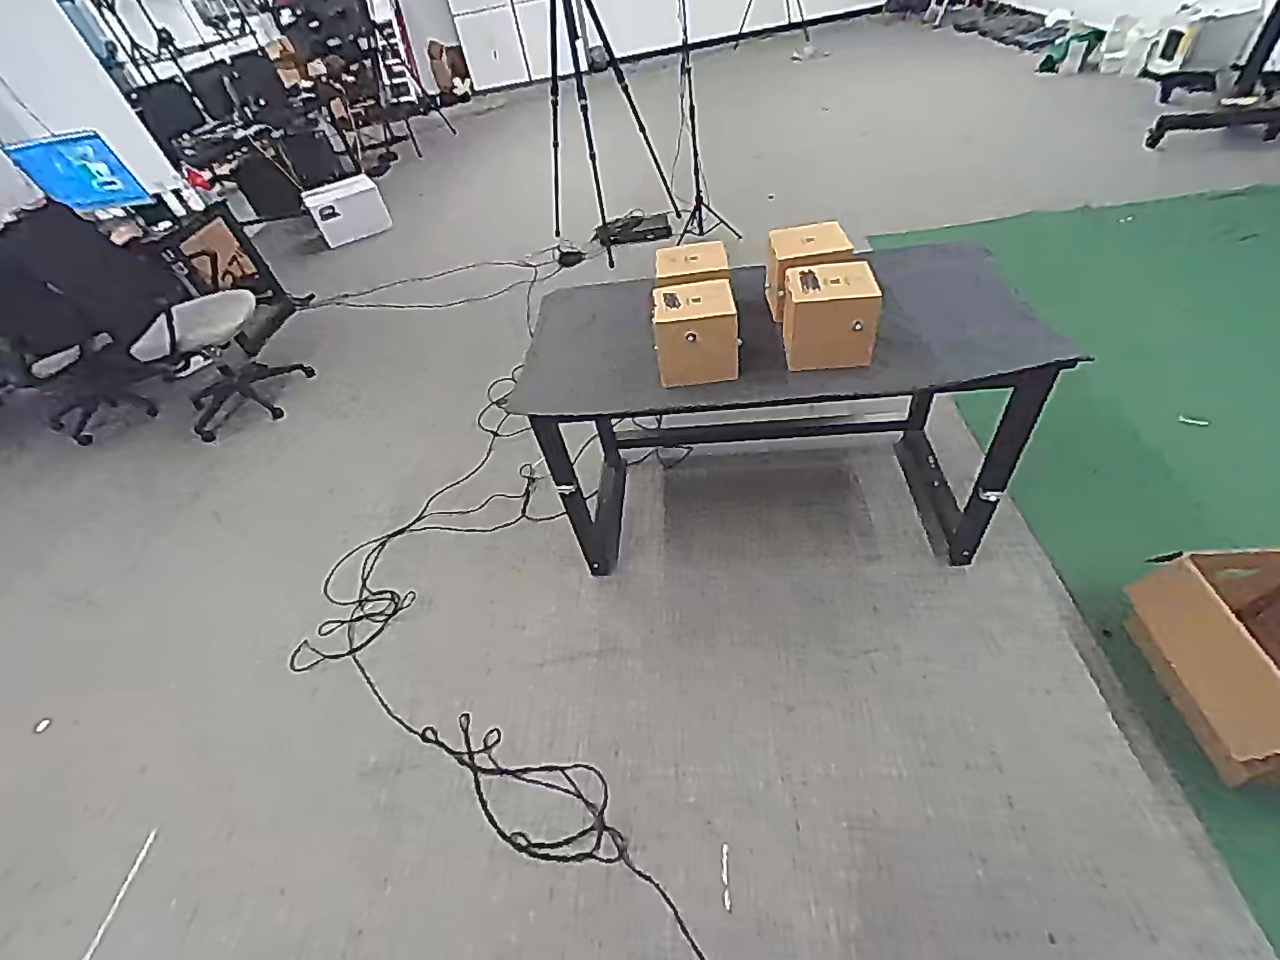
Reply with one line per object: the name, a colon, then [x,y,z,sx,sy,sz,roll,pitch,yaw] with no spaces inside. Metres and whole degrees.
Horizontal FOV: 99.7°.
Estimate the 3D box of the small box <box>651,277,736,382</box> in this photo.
small box: [0.123,-0.340,1.237,0.179,0.176,0.168,-6,45,6]
